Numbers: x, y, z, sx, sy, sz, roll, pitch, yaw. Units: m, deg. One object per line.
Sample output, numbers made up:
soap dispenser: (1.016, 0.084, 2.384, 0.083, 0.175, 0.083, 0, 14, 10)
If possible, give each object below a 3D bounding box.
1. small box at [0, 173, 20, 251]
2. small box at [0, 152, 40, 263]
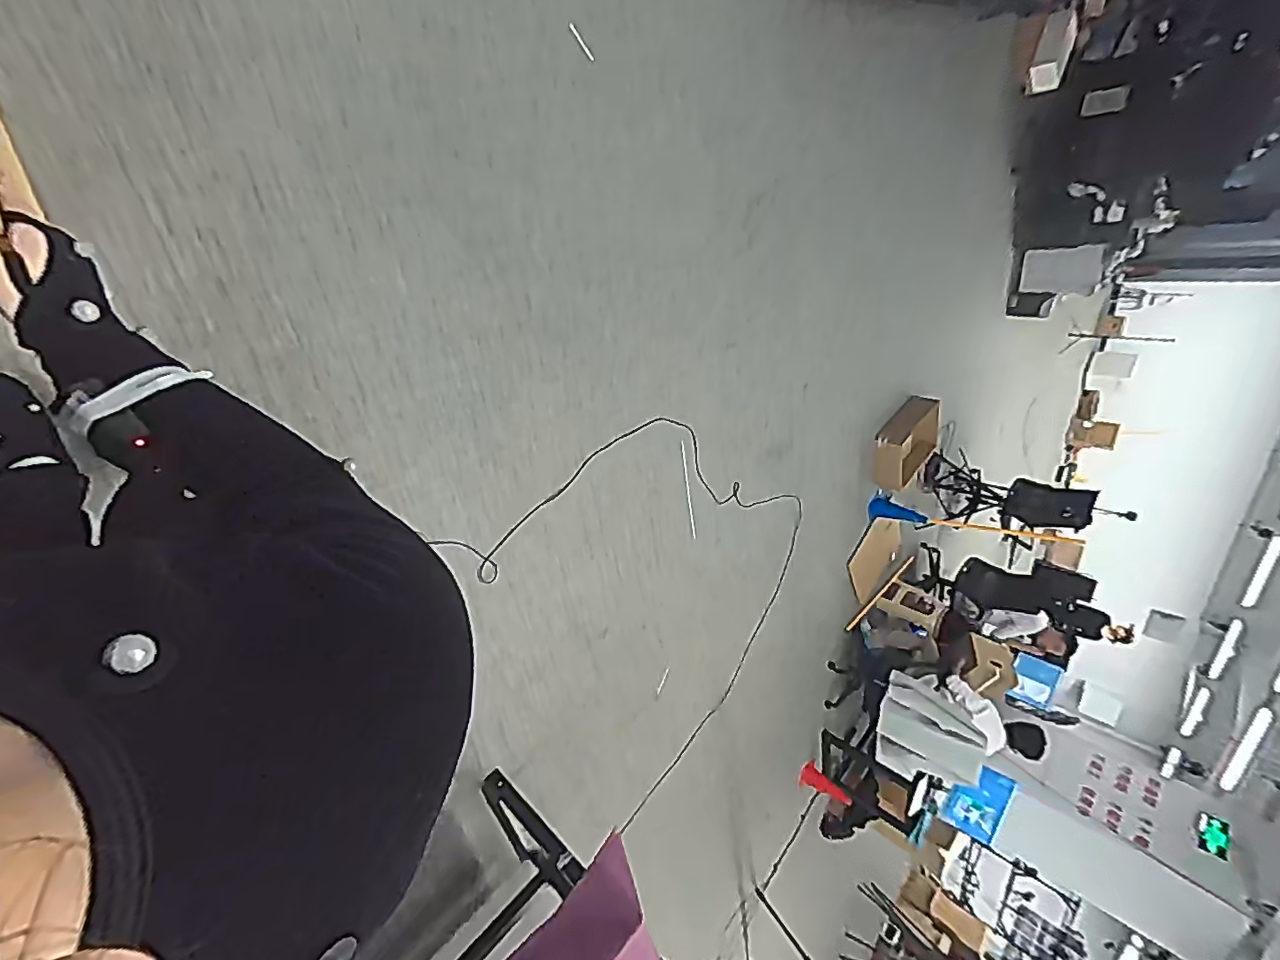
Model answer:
small box: (-0.581, -0.259, 0.374, 0.168, 0.176, 0.179, -19, 115, -42)
small box: (-0.696, -0.293, 0.487, 0.168, 0.176, 0.179, -23, 119, -39)
